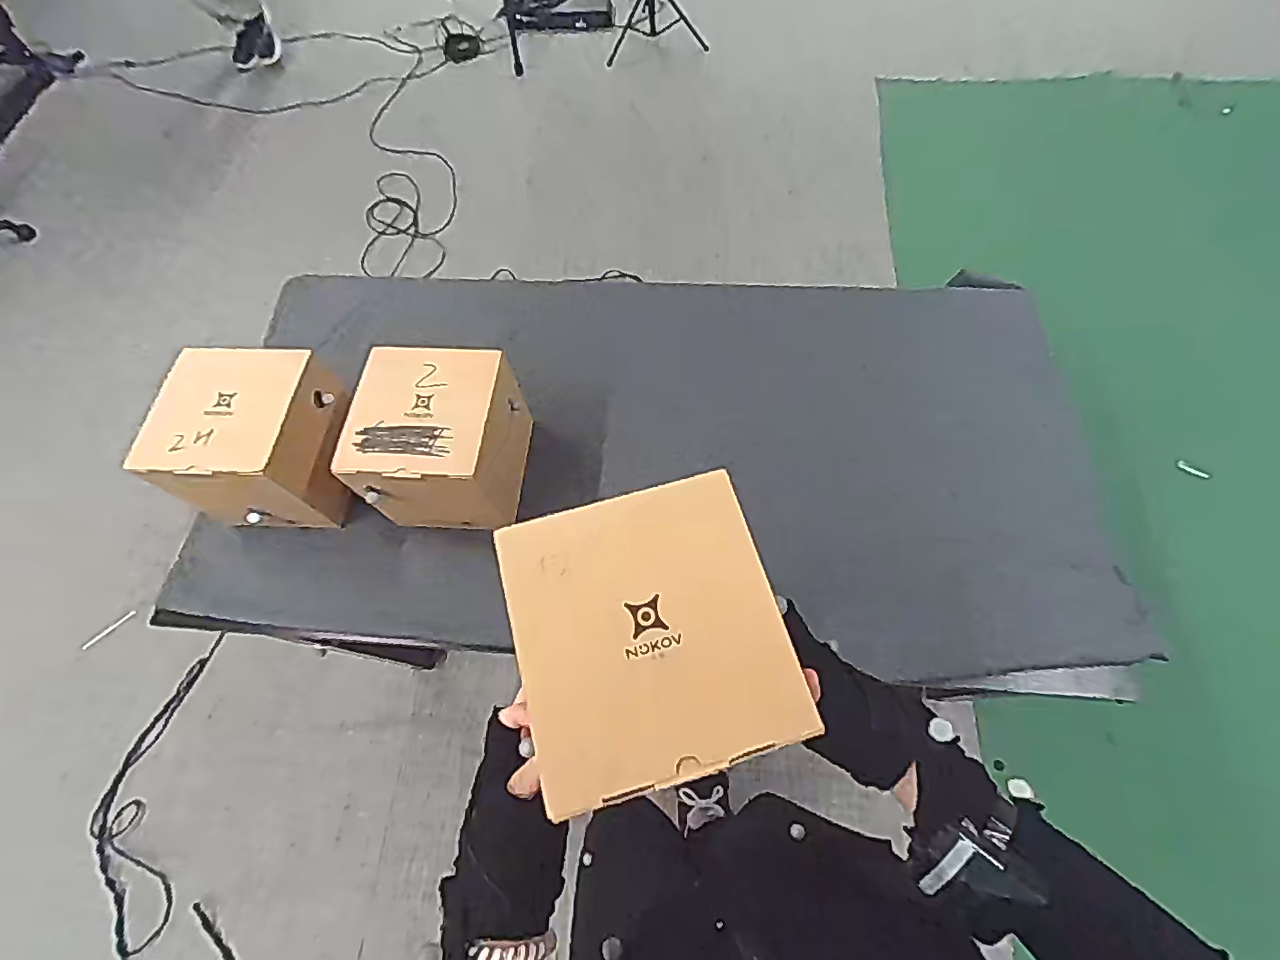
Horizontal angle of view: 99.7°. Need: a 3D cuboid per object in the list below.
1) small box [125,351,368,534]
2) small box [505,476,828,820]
[{"bbox_3d":[-0.485,-0.045,0.705,0.168,0.176,0.179,2,64,3],"label":"small box"},{"bbox_3d":[0.008,0.123,0.409,0.168,0.176,0.179,-15,69,-7],"label":"small box"}]
